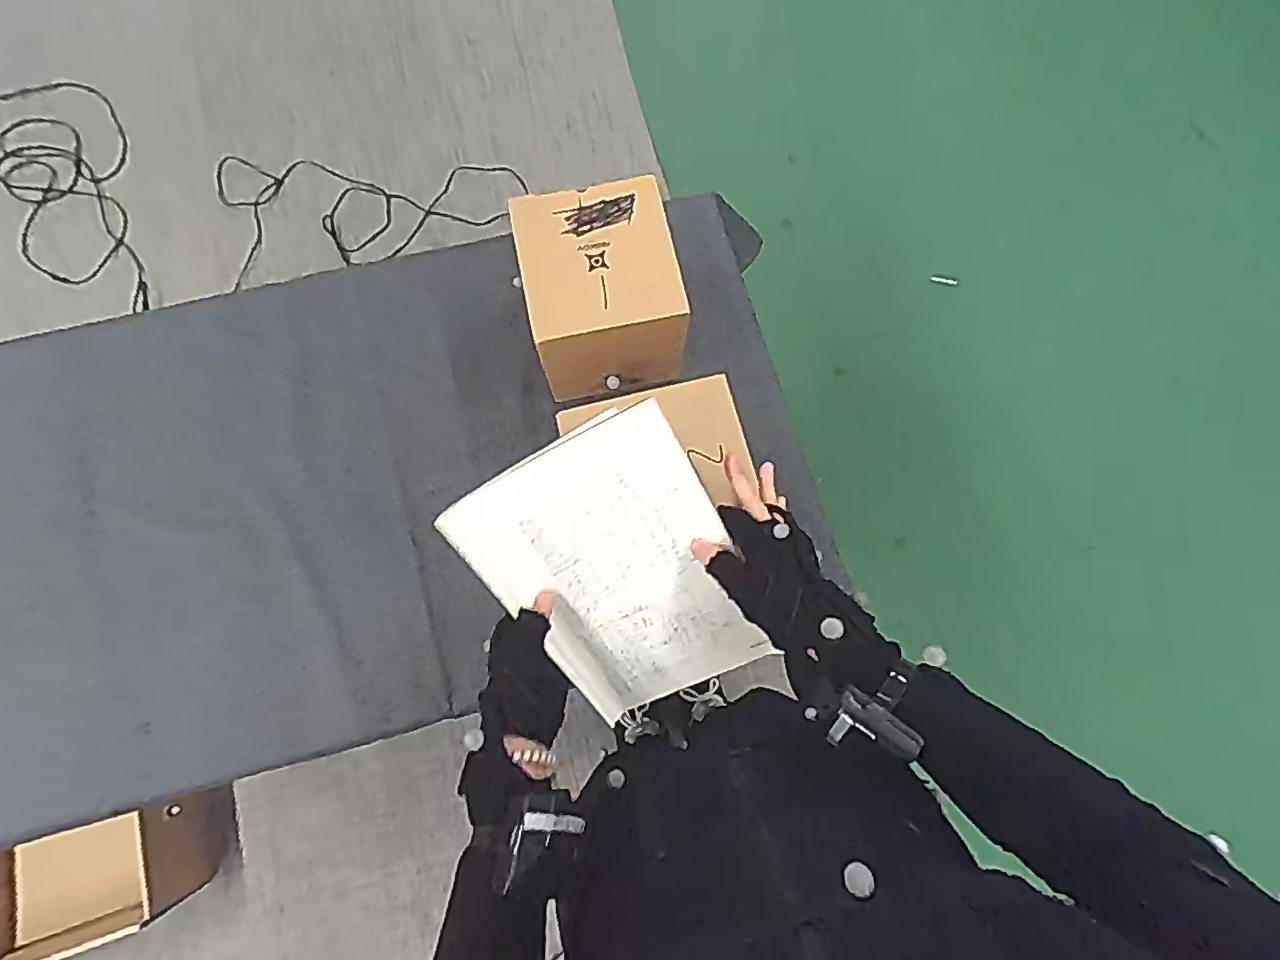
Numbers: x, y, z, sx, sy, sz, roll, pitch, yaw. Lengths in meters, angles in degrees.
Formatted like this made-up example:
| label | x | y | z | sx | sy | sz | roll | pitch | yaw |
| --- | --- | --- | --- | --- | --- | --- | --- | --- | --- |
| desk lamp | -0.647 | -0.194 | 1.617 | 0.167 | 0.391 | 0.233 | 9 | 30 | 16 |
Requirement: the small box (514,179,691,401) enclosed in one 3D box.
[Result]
| label | x | y | z | sx | sy | sz | roll | pitch | yaw |
| --- | --- | --- | --- | --- | --- | --- | --- | --- | --- |
| small box | -0.044 | -0.217 | 0.651 | 0.168 | 0.176 | 0.179 | -11 | 77 | -3 |
